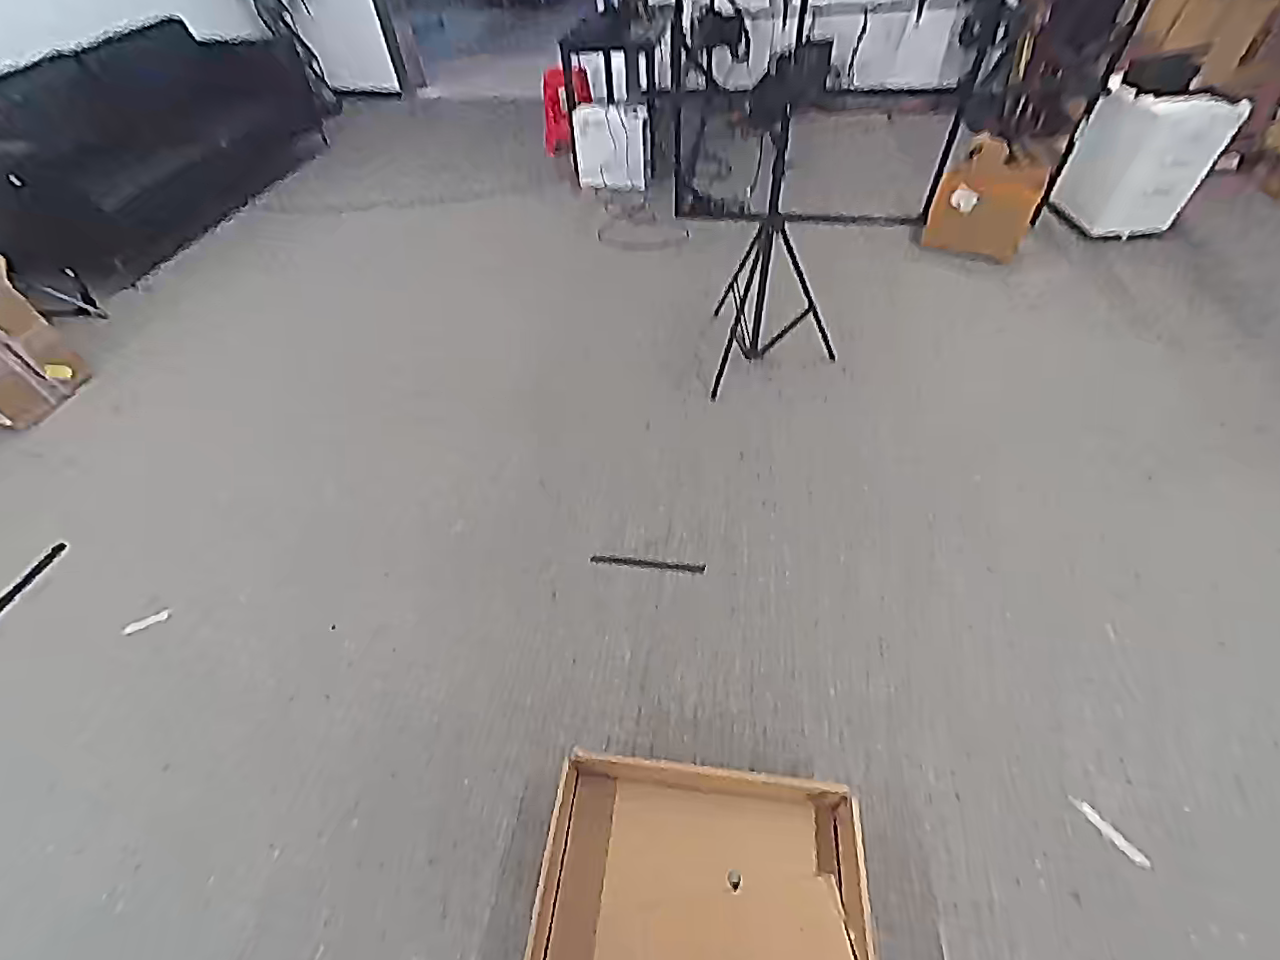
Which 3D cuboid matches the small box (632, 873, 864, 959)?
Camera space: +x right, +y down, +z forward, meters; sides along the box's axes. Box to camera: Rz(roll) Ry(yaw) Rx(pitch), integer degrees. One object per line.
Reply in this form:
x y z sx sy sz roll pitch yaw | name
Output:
0.099 0.449 0.459 0.179 0.176 0.168 -12 51 1 | small box
